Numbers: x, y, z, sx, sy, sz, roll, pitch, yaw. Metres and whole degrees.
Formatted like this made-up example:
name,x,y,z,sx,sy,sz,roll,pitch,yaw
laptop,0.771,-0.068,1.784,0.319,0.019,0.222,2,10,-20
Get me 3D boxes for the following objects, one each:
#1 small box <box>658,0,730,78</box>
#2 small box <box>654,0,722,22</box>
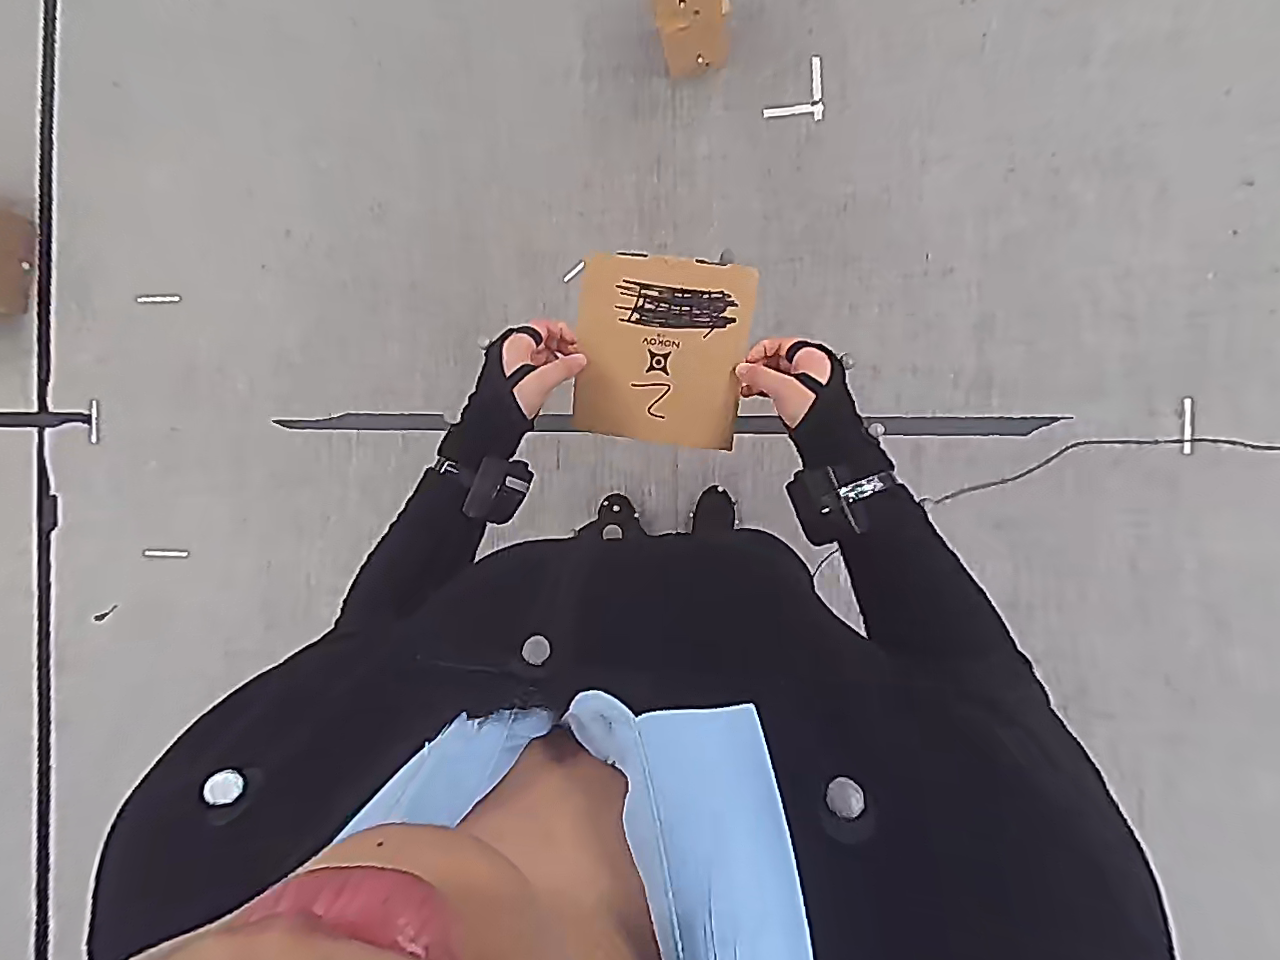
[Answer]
name,x,y,z,sx,sy,sz,roll,pitch,yaw
small box,0.138,-1.220,1.424,0.168,0.176,0.179,-12,88,7
small box,0.112,-1.229,1.263,0.168,0.176,0.179,1,90,7
